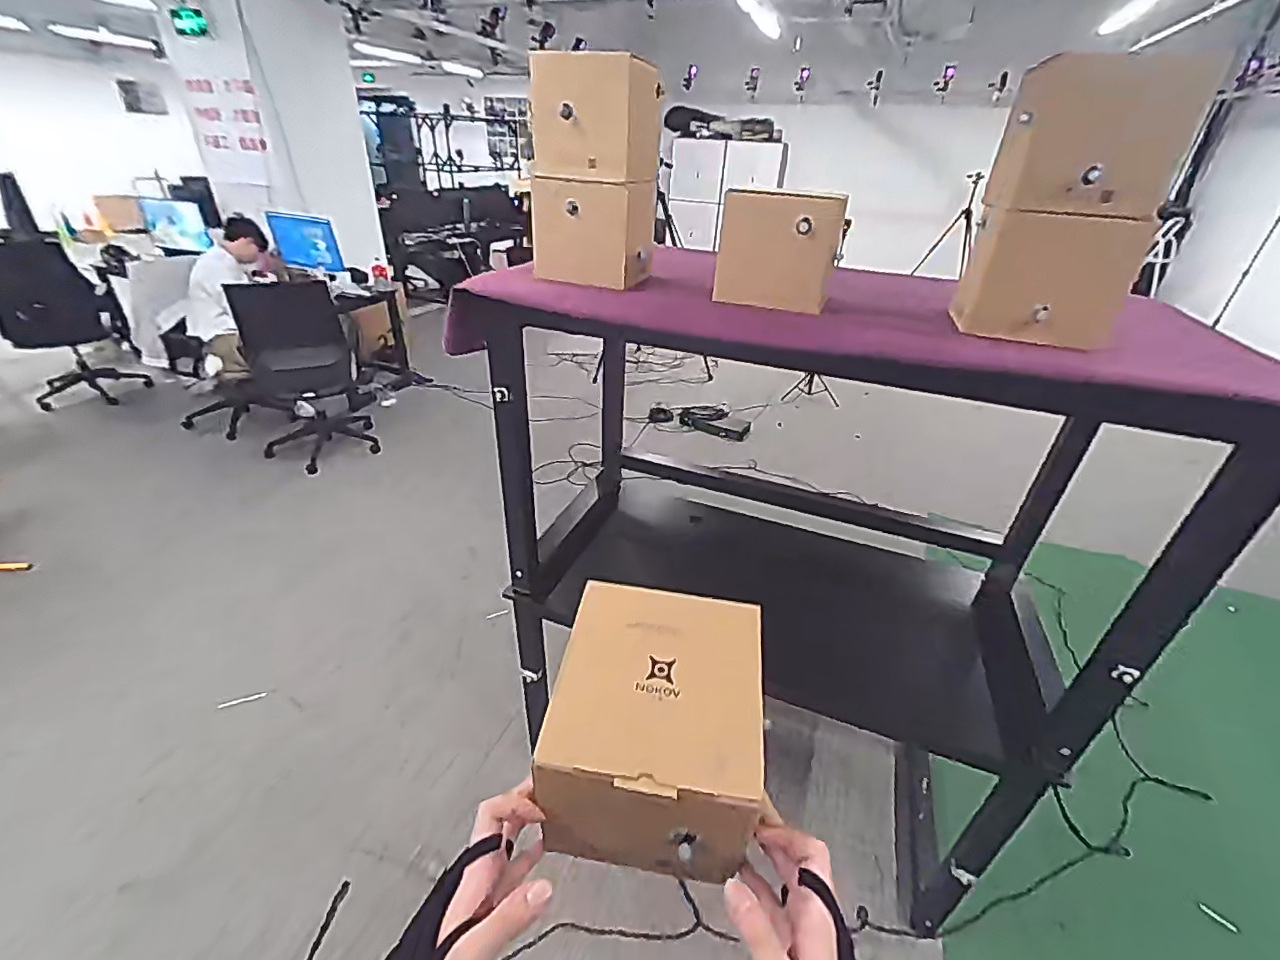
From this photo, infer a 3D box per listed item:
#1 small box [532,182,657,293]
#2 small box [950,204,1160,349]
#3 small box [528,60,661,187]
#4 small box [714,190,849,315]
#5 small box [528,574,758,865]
[{"bbox_3d":[-0.079,-0.446,0.988,0.179,0.176,0.168,12,33,14],"label":"small box"},{"bbox_3d":[0.580,-0.297,0.787,0.179,0.176,0.168,13,31,17],"label":"small box"},{"bbox_3d":[-0.069,-0.588,0.910,0.168,0.176,0.179,12,31,15],"label":"small box"},{"bbox_3d":[0.234,-0.379,0.899,0.179,0.176,0.168,13,32,18],"label":"small box"},{"bbox_3d":[0.012,0.215,0.492,0.168,0.176,0.179,7,38,6],"label":"small box"}]
